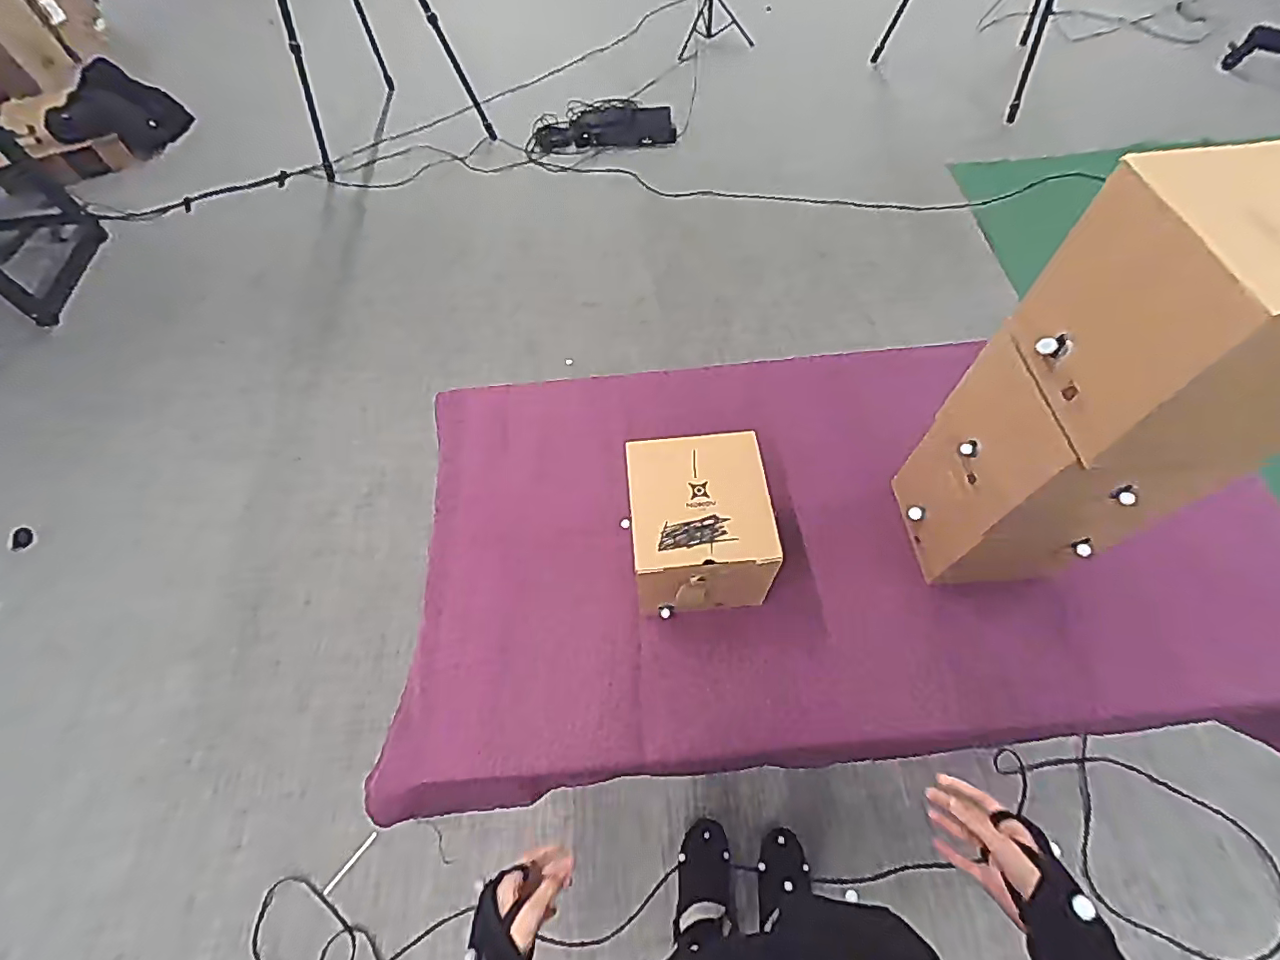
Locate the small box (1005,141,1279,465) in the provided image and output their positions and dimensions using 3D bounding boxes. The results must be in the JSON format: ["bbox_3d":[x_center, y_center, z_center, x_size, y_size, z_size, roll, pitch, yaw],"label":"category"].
[{"bbox_3d":[0.435,-0.126,0.414,0.179,0.176,0.168,-5,59,1],"label":"small box"}]

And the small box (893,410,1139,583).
[{"bbox_3d":[0.464,0.026,0.704,0.179,0.176,0.168,-5,59,0],"label":"small box"}]

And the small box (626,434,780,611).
[{"bbox_3d":[0.073,0.064,0.706,0.168,0.176,0.179,-5,59,0],"label":"small box"}]
